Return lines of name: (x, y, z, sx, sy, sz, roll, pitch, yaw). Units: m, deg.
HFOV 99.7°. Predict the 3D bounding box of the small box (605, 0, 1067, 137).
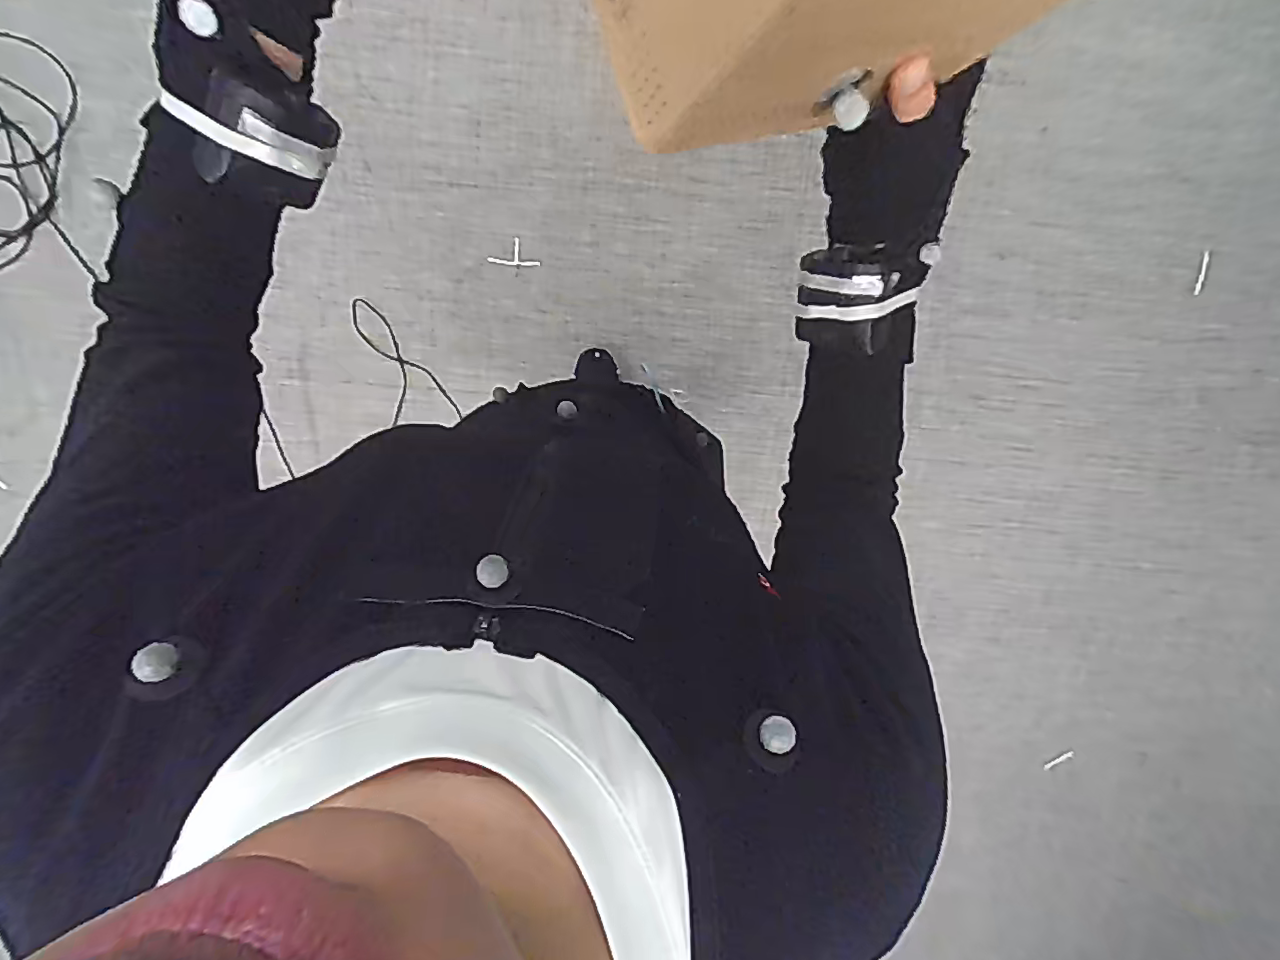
small box: (0.087, -0.249, 0.182, 0.179, 0.176, 0.168, -24, 103, -24)
